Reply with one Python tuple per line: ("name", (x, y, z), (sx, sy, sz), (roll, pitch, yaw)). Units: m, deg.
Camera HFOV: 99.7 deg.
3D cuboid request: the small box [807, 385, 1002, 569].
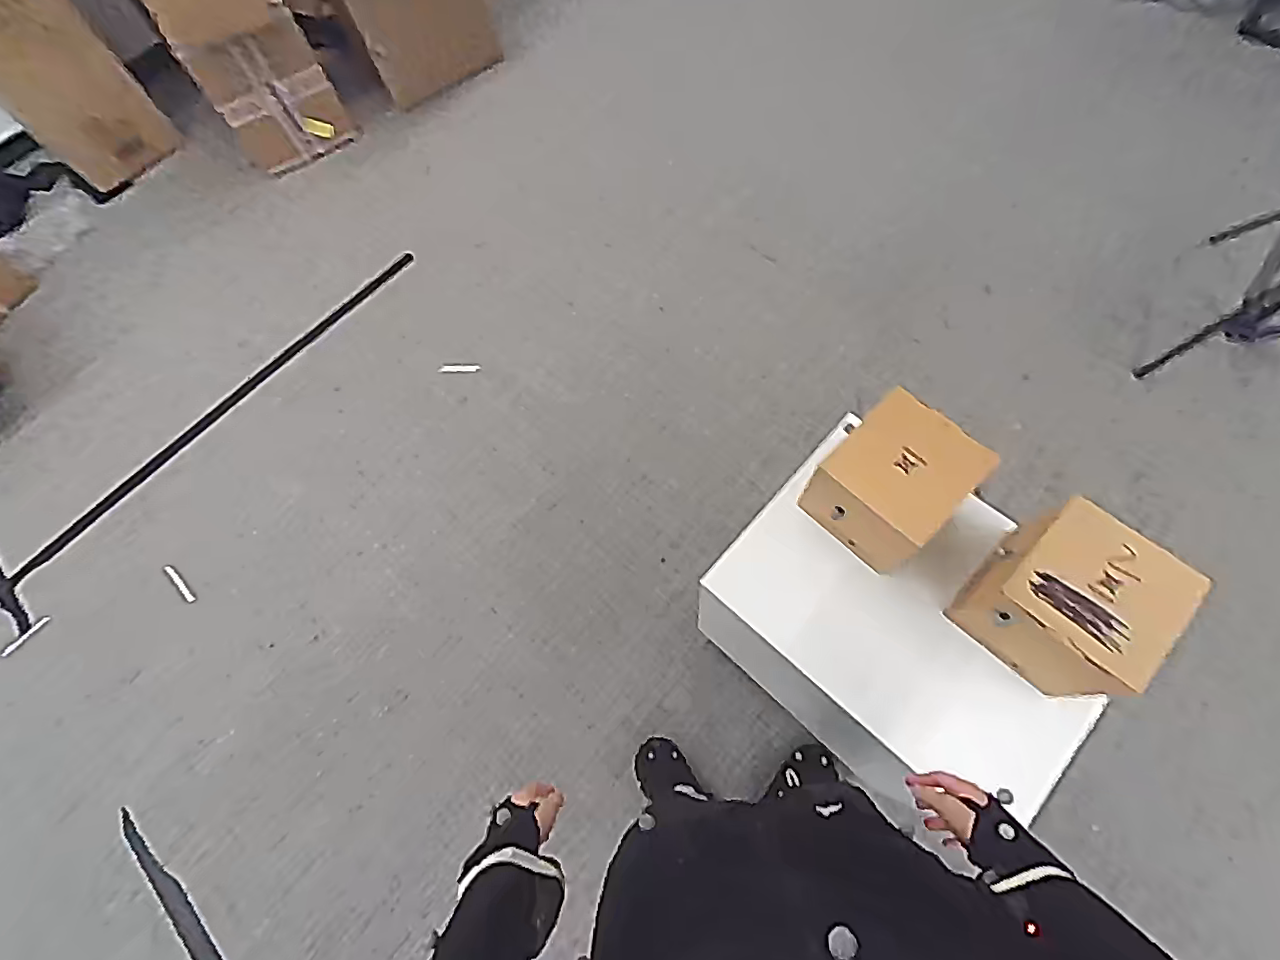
("small box", (0.365, 0.005, 0.788), (0.179, 0.176, 0.168), (-42, 70, -12))
